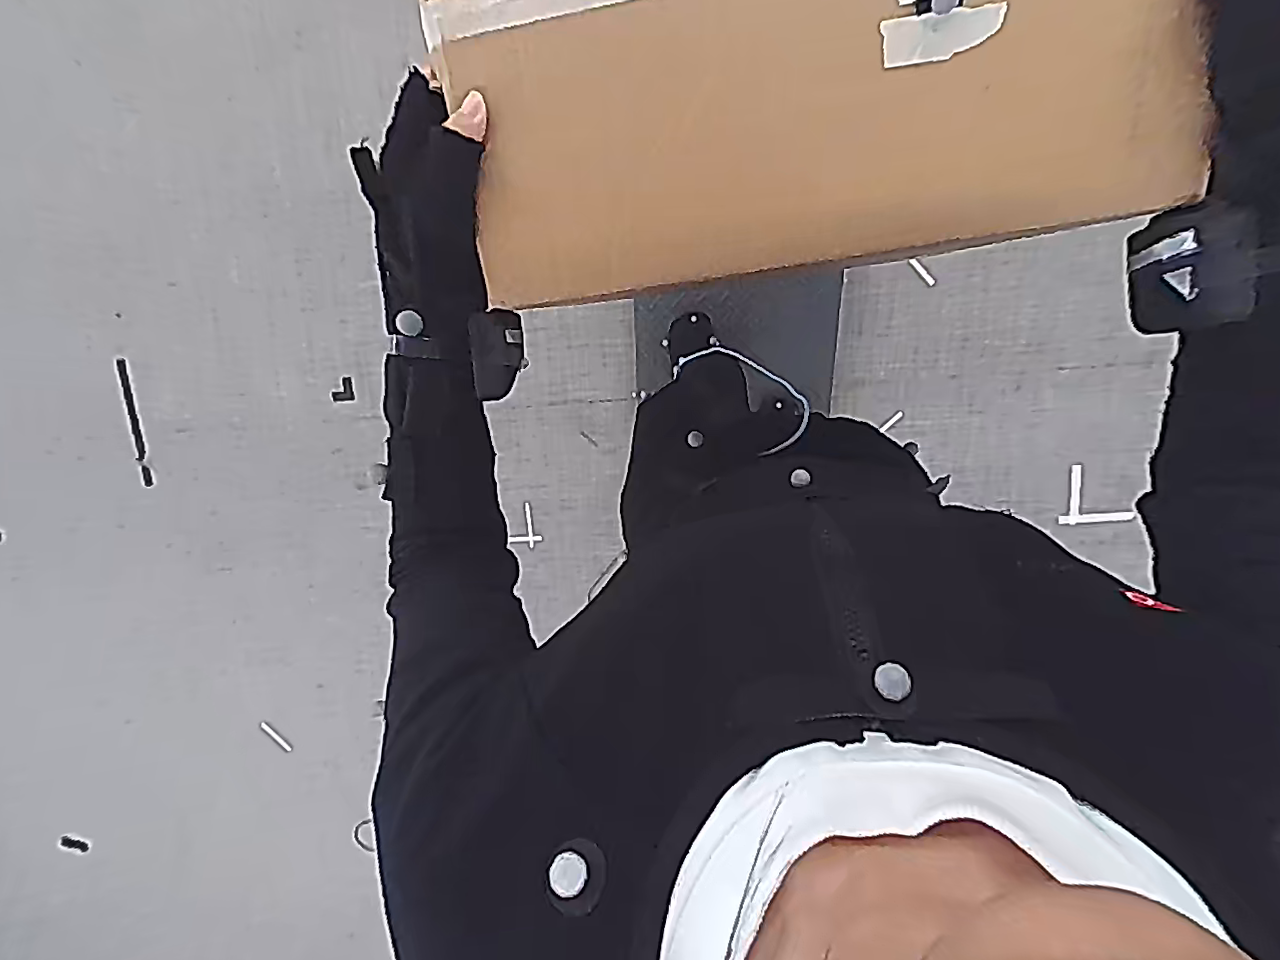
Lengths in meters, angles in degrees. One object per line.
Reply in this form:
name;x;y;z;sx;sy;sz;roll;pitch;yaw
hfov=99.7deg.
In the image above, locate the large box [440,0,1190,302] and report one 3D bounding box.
large box;0.093;-0.333;0.430;0.408;0.320;0.320;-6;108;8
